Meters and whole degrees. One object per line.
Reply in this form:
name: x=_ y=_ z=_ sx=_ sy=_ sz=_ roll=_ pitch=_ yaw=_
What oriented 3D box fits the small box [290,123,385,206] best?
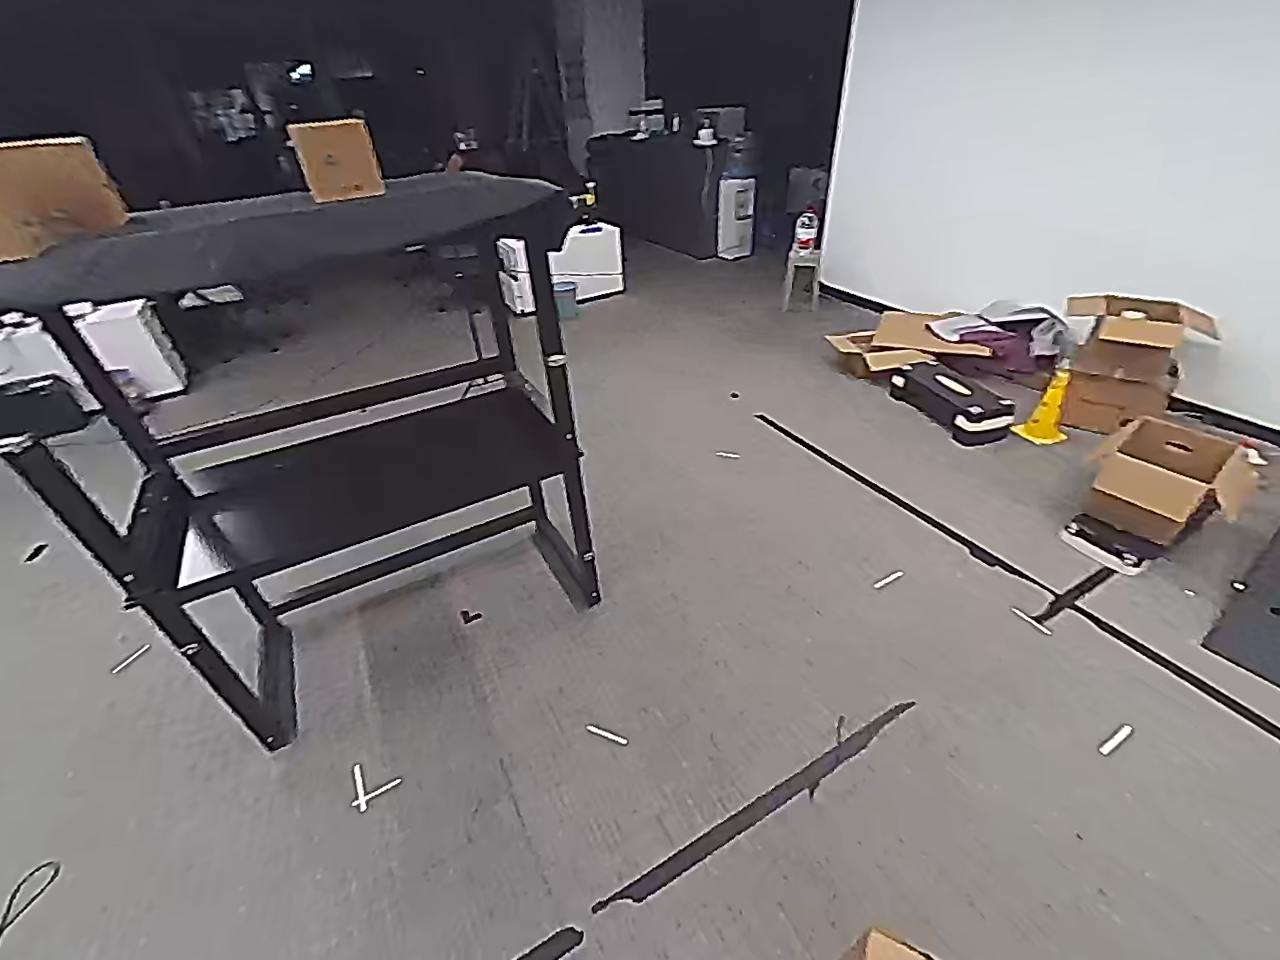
small box: x=-0.792 y=-0.829 z=1.422 sx=0.168 sy=0.176 sz=0.179 roll=-22 pitch=40 yaw=-22

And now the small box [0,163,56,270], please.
small box: x=-1.217 y=-0.465 z=0.958 sx=0.179 sy=0.176 sz=0.168 roll=-23 pitch=39 yaw=-25

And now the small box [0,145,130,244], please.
small box: x=-1.286 y=-0.633 z=1.198 sx=0.179 sy=0.176 sz=0.168 roll=-22 pitch=40 yaw=-24

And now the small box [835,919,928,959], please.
small box: x=0.263 y=0.617 z=0.547 sx=0.168 sy=0.176 sz=0.179 roll=21 pitch=33 yaw=21
